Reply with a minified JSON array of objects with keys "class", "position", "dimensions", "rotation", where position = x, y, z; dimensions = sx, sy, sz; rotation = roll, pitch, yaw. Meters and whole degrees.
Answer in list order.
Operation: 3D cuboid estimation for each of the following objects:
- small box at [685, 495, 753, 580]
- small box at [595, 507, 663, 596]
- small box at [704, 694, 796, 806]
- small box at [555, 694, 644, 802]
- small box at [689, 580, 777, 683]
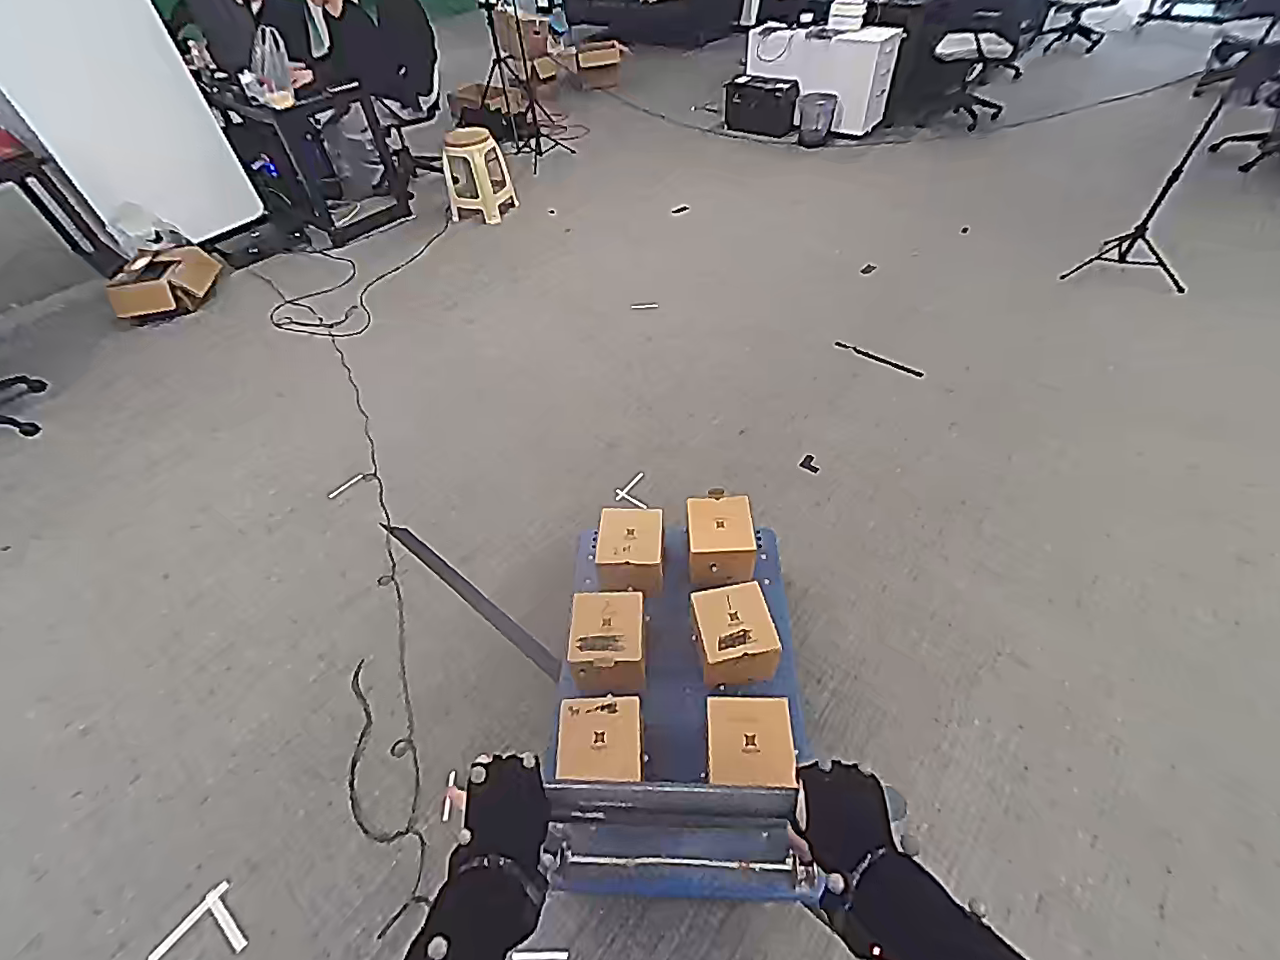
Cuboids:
[{"class":"small box","position":[0.210,0.163,1.472],"dimensions":[0.168,0.176,0.179],"rotation":[-3,49,2]},{"class":"small box","position":[-0.023,0.192,1.463],"dimensions":[0.168,0.176,0.179],"rotation":[0,50,5]},{"class":"small box","position":[0.220,0.563,1.122],"dimensions":[0.168,0.176,0.179],"rotation":[0,48,4]},{"class":"small box","position":[-0.078,0.569,1.140],"dimensions":[0.168,0.176,0.179],"rotation":[-3,49,1]},{"class":"small box","position":[0.216,0.368,1.292],"dimensions":[0.168,0.176,0.179],"rotation":[-10,48,-4]}]
